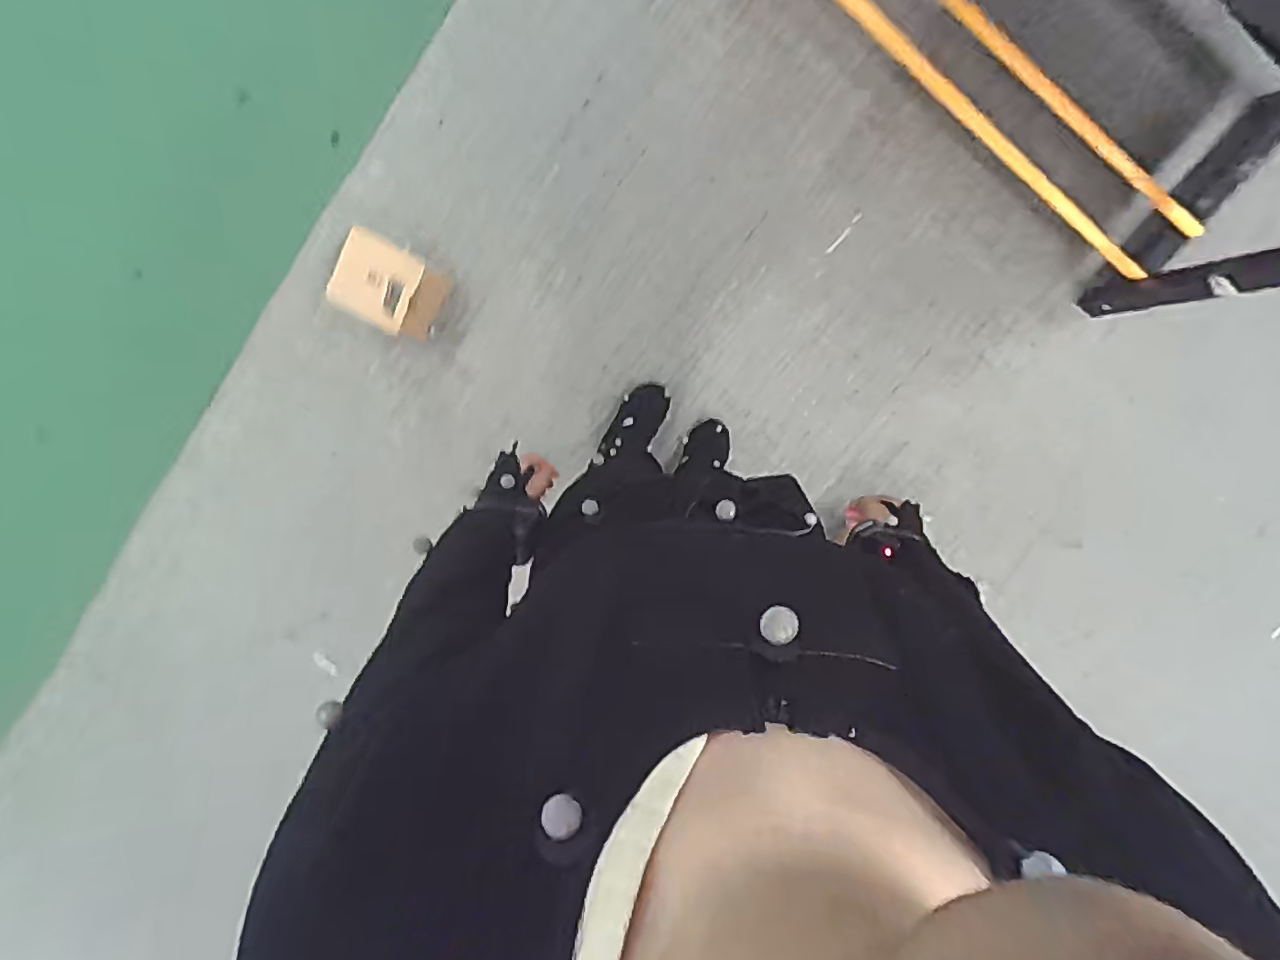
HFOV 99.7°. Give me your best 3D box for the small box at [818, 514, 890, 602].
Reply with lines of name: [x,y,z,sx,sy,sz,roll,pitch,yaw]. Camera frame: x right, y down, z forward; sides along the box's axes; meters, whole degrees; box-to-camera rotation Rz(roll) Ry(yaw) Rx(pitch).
small box: [0.561,0.204,1.308,0.168,0.176,0.179,33,99,-5]

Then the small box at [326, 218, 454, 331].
small box: [-0.551,-0.450,1.217,0.179,0.176,0.168,29,99,-3]

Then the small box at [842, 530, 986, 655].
small box: [0.569,0.228,1.145,0.179,0.176,0.168,33,98,-4]
